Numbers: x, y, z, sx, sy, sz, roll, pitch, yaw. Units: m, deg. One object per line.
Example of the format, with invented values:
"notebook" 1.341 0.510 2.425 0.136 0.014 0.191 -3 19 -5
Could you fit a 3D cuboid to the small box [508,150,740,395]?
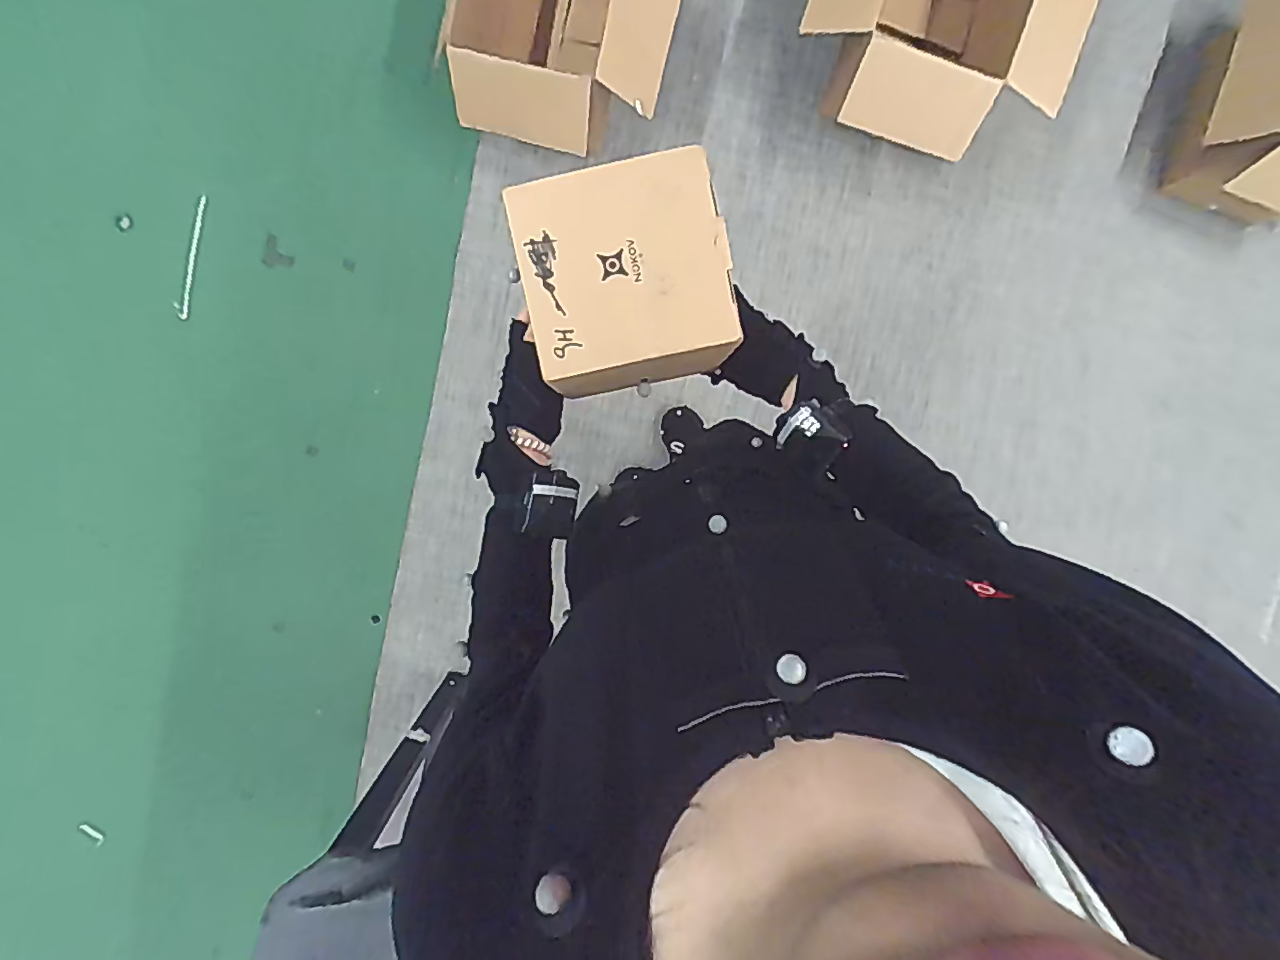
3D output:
"small box" -0.015 -0.188 0.539 0.179 0.176 0.168 -11 92 0
